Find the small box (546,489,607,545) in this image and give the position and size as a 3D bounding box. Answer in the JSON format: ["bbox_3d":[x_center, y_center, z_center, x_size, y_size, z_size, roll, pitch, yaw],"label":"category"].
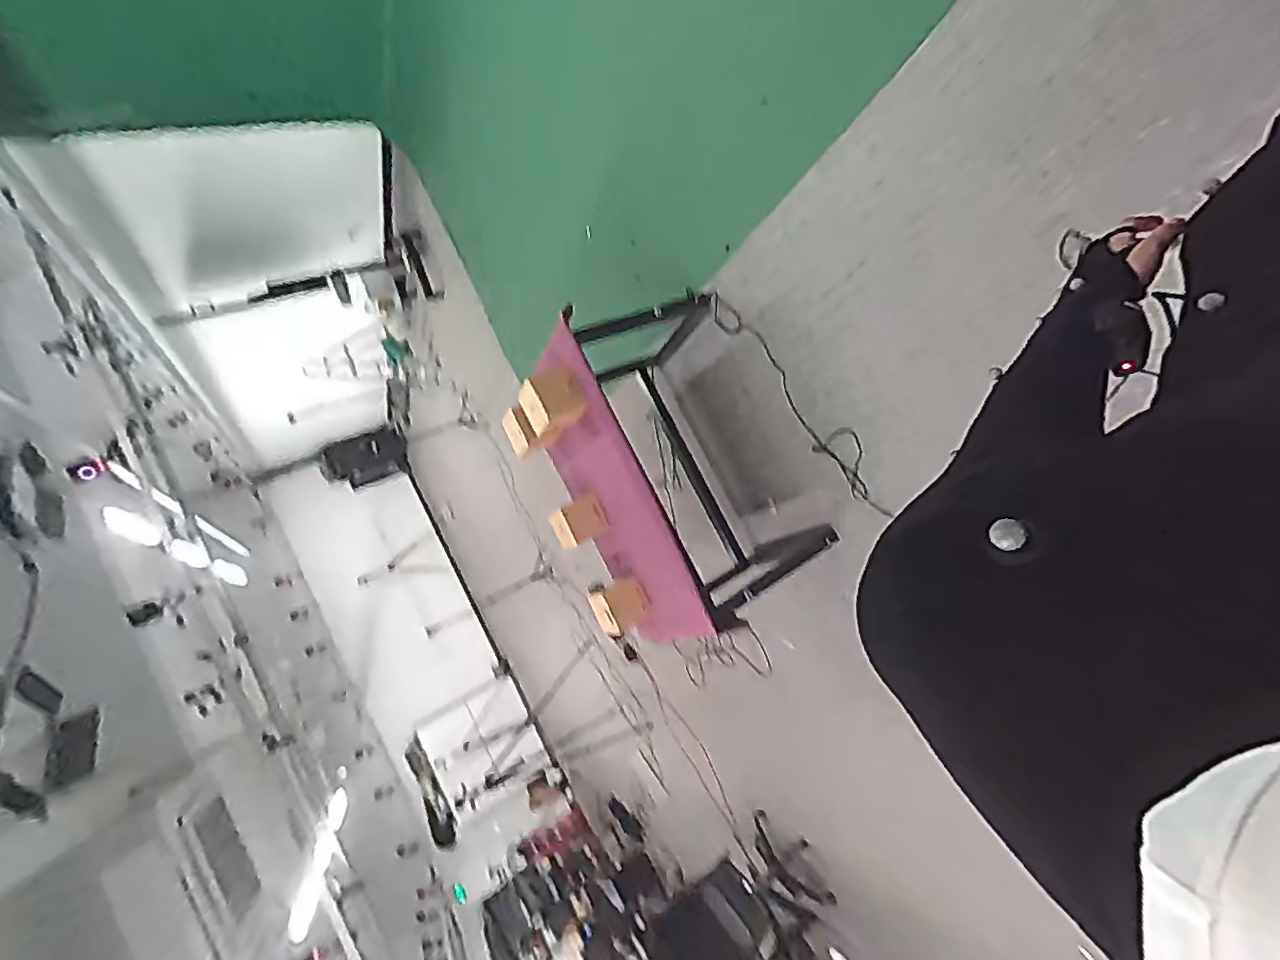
[{"bbox_3d":[-0.260,0.153,2.231,0.168,0.176,0.179,63,150,-1],"label":"small box"}]

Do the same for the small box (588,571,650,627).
[{"bbox_3d":[-0.080,0.485,2.209,0.168,0.176,0.179,63,150,1],"label":"small box"}]

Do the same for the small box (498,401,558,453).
[{"bbox_3d":[-0.461,-0.234,2.231,0.168,0.176,0.179,61,151,0],"label":"small box"}]

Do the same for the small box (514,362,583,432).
[{"bbox_3d":[-0.331,-0.300,1.962,0.168,0.176,0.179,60,151,2],"label":"small box"}]
